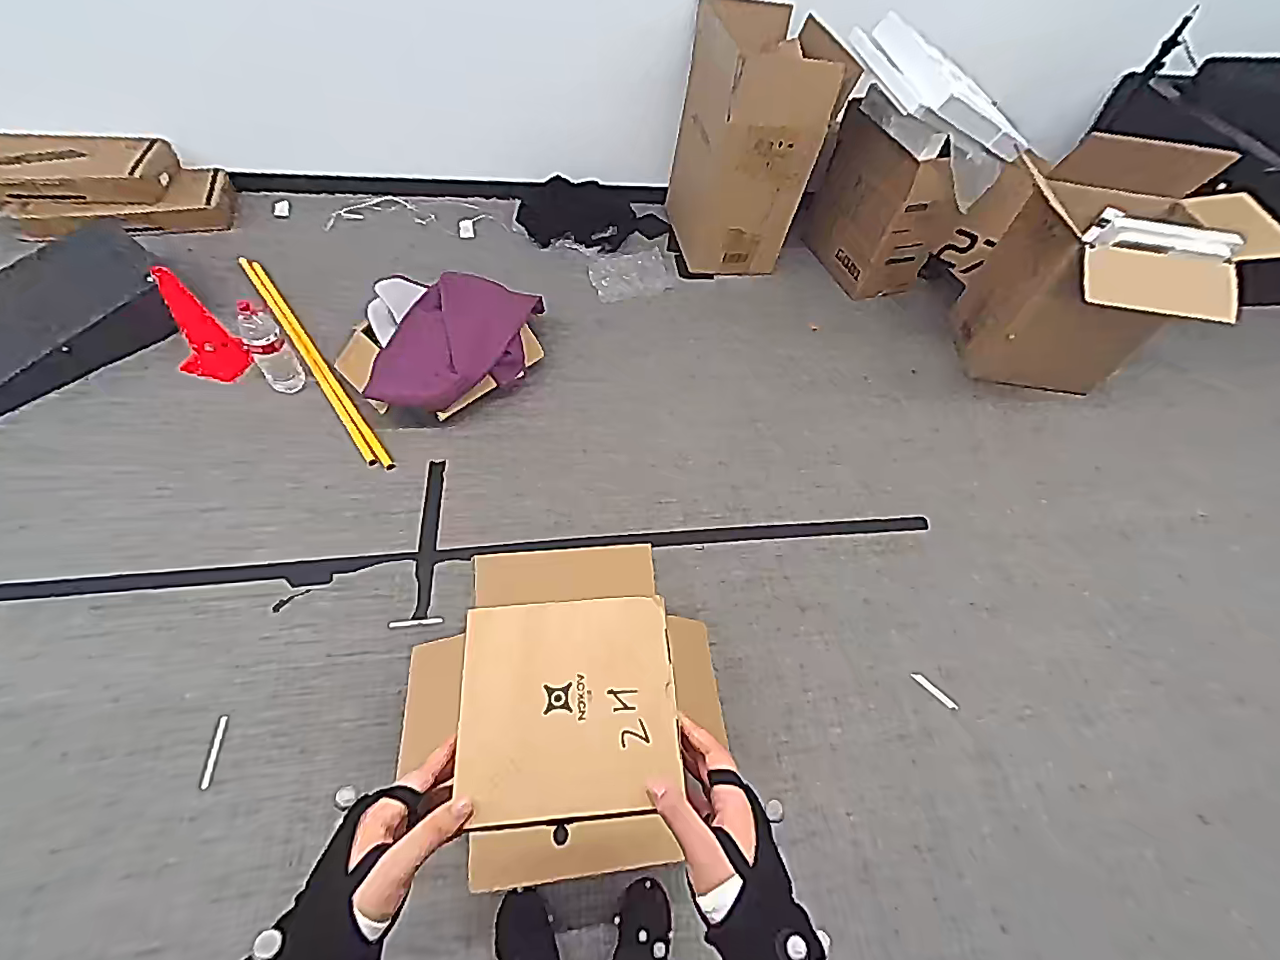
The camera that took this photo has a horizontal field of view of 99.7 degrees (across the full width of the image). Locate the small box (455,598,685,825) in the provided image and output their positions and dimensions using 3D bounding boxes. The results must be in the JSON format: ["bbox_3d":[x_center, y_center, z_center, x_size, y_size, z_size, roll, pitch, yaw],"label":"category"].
[{"bbox_3d":[-0.060,0.223,0.513,0.179,0.176,0.168,-3,58,-5],"label":"small box"}]
